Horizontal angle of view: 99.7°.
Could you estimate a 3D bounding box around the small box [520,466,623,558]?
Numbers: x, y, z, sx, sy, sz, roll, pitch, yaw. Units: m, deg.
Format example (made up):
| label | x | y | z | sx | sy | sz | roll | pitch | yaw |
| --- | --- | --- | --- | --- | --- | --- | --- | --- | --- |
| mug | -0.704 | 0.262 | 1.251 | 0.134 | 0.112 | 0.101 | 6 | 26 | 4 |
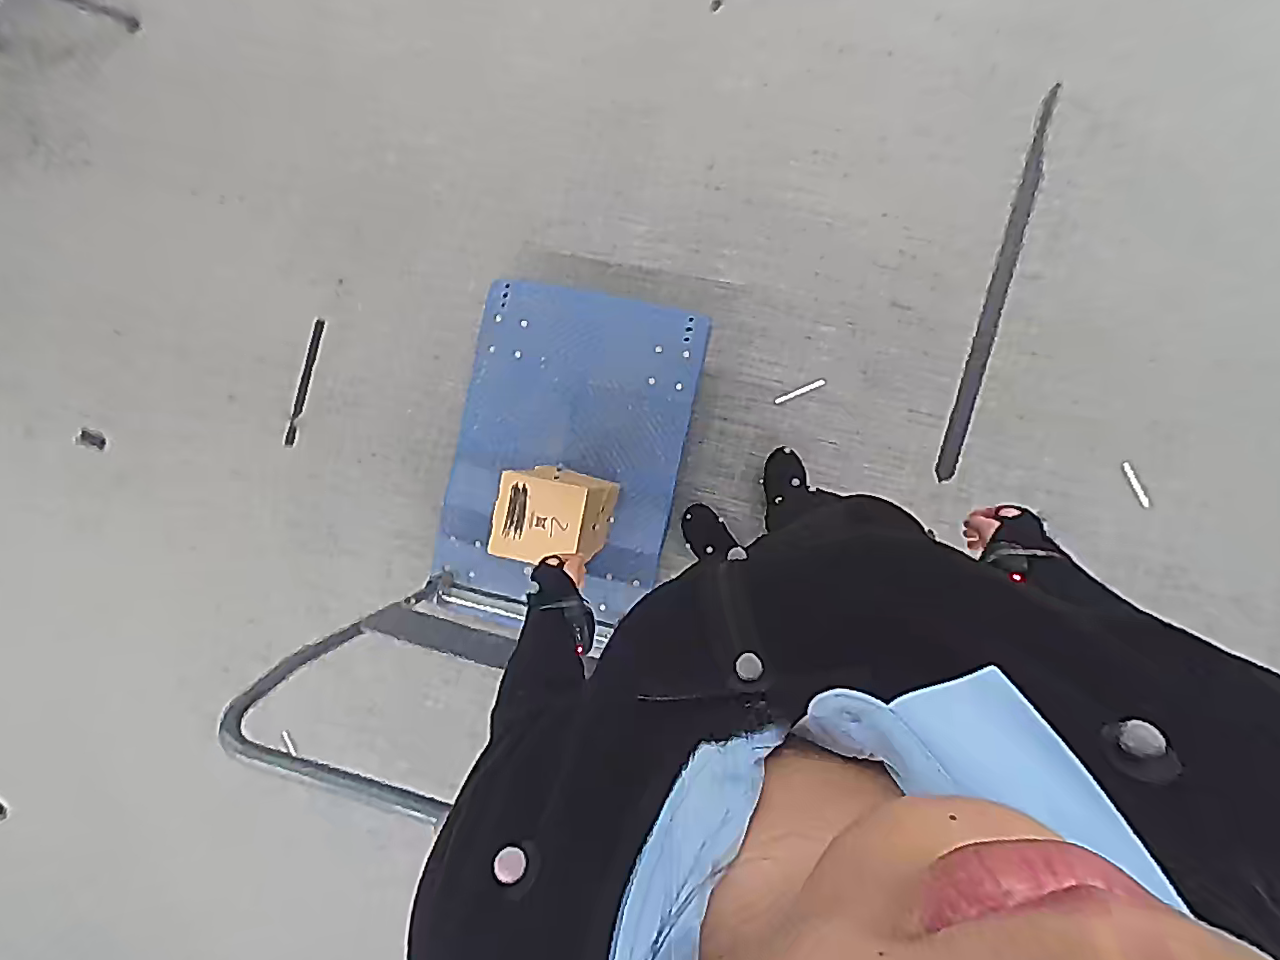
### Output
| label | x | y | z | sx | sy | sz | roll | pitch | yaw |
| --- | --- | --- | --- | --- | --- | --- | --- | --- | --- |
| small box | -0.153 | 0.070 | 1.269 | 0.179 | 0.176 | 0.168 | 16 | 93 | 7 |
